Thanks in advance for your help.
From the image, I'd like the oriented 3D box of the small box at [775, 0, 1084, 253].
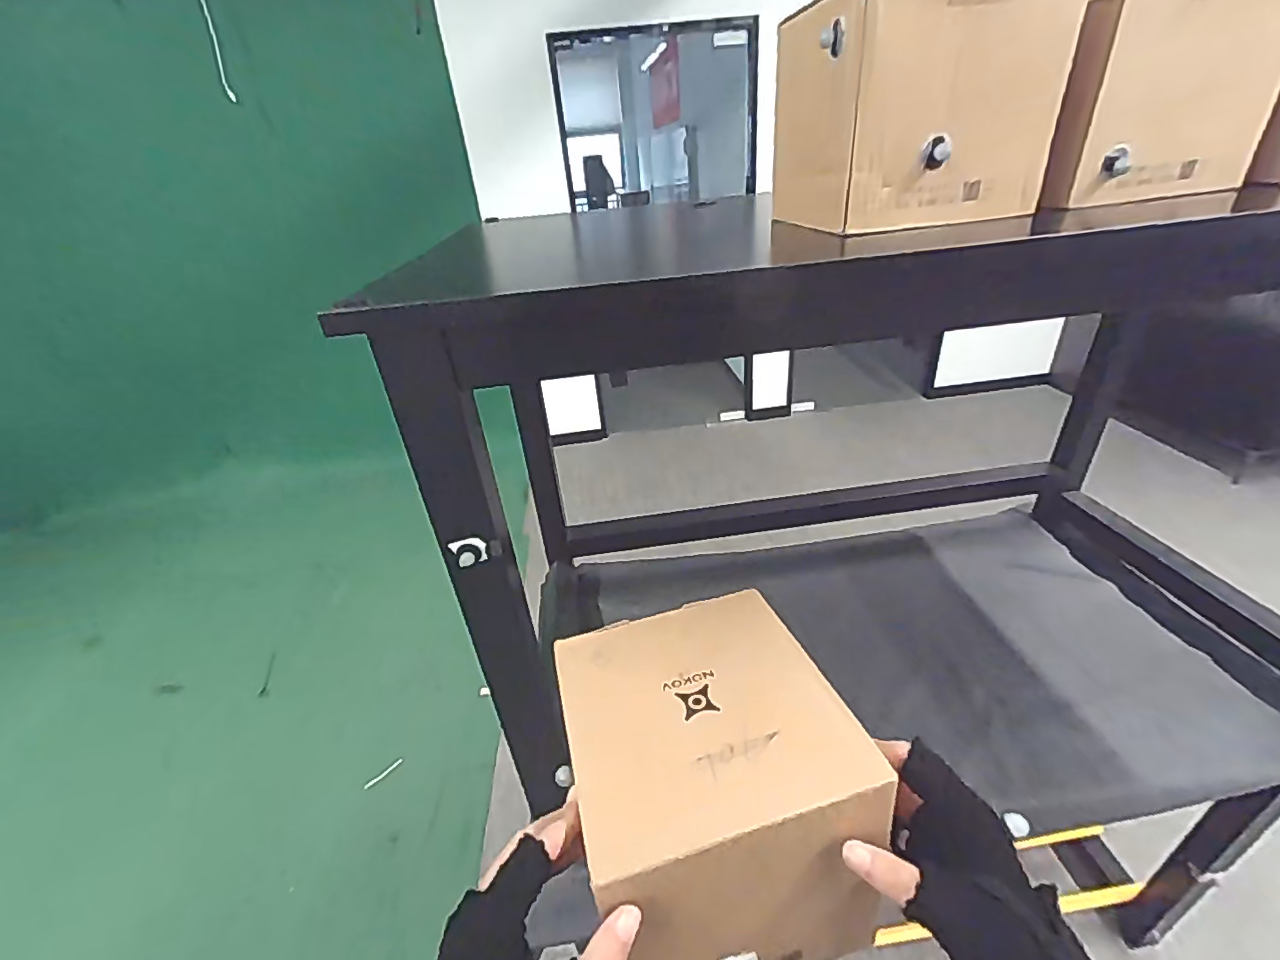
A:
[{"bbox_3d":[0.227,-0.305,0.484,0.168,0.176,0.179,-8,31,-4],"label":"small box"}]
